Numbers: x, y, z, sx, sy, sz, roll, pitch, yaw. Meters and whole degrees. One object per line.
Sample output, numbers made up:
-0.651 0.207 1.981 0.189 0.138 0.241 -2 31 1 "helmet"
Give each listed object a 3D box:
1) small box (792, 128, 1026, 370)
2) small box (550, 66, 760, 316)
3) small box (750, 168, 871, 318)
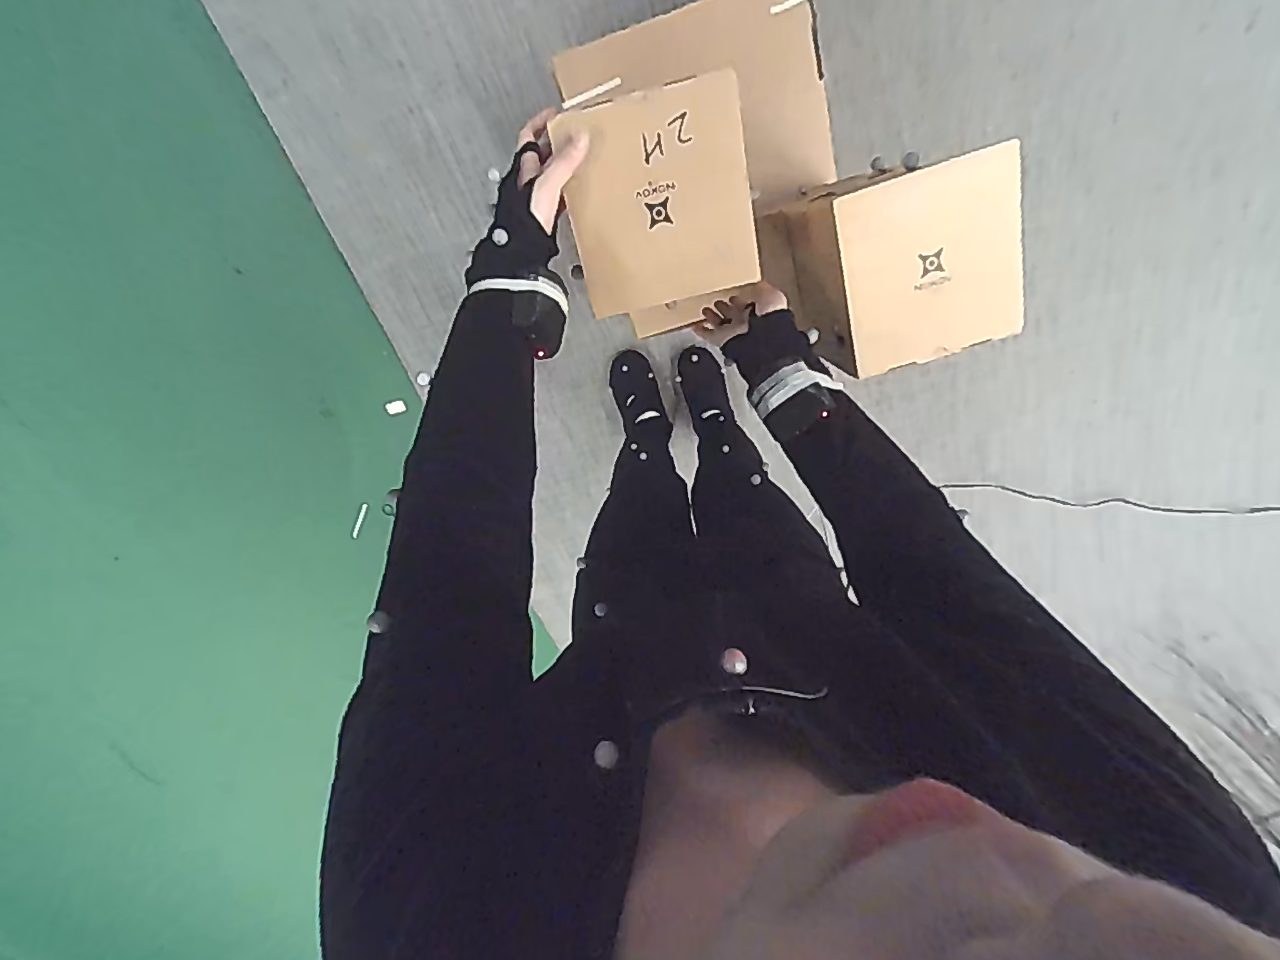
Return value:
0.276 -0.239 0.582 0.168 0.176 0.179 -17 113 7 "small box"
0.020 -0.284 0.560 0.168 0.176 0.179 -11 113 5 "small box"
0.269 -0.381 0.877 0.179 0.176 0.168 -18 112 9 "small box"
